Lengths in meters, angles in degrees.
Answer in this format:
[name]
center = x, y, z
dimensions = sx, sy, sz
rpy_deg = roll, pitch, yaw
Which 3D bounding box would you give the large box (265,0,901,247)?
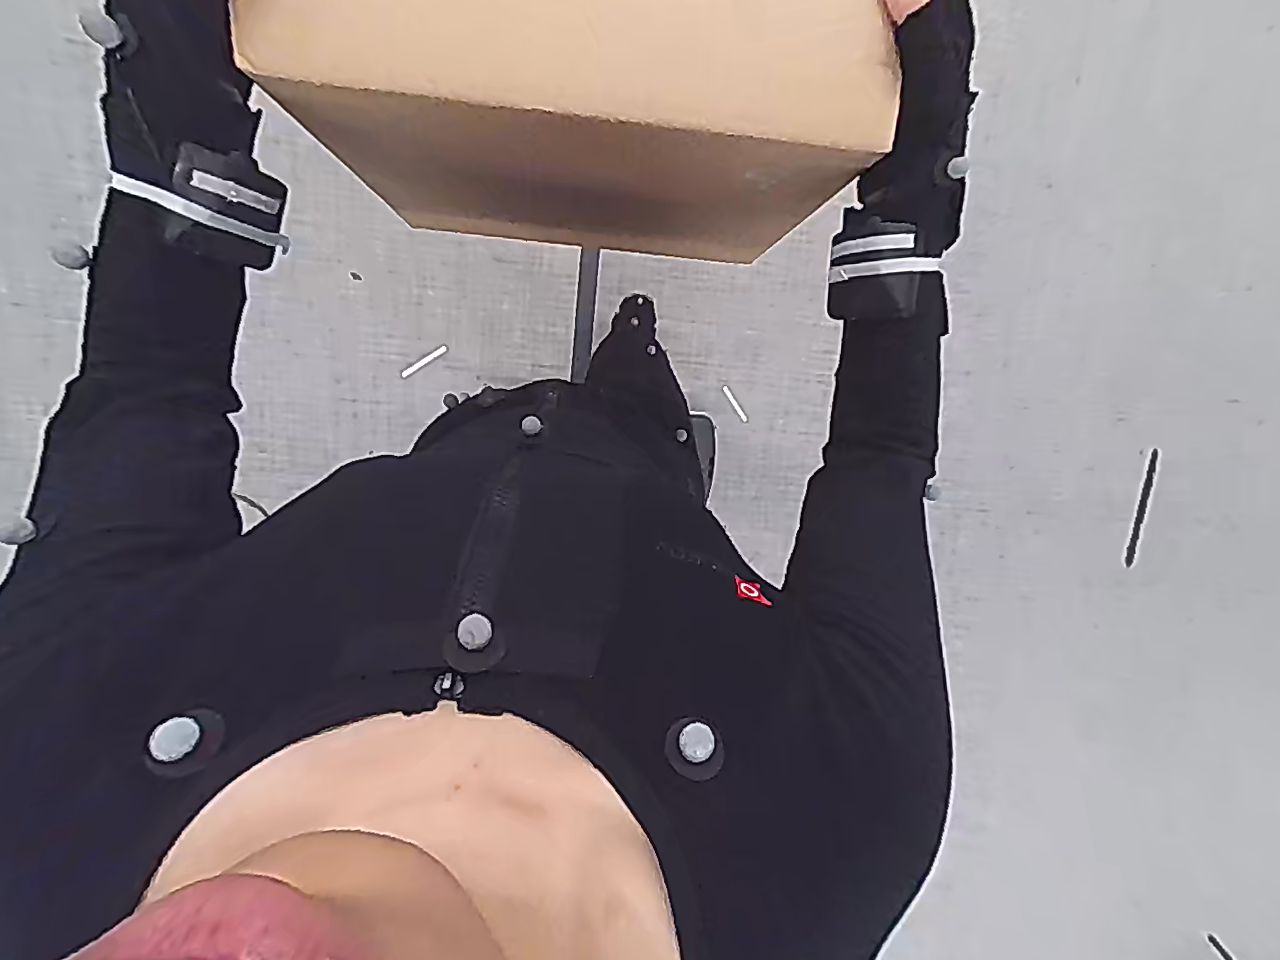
[large box]
center = -0.037, -0.415, 0.470
dimensions = 0.408, 0.320, 0.320
rpy_deg = 3, 100, -7
